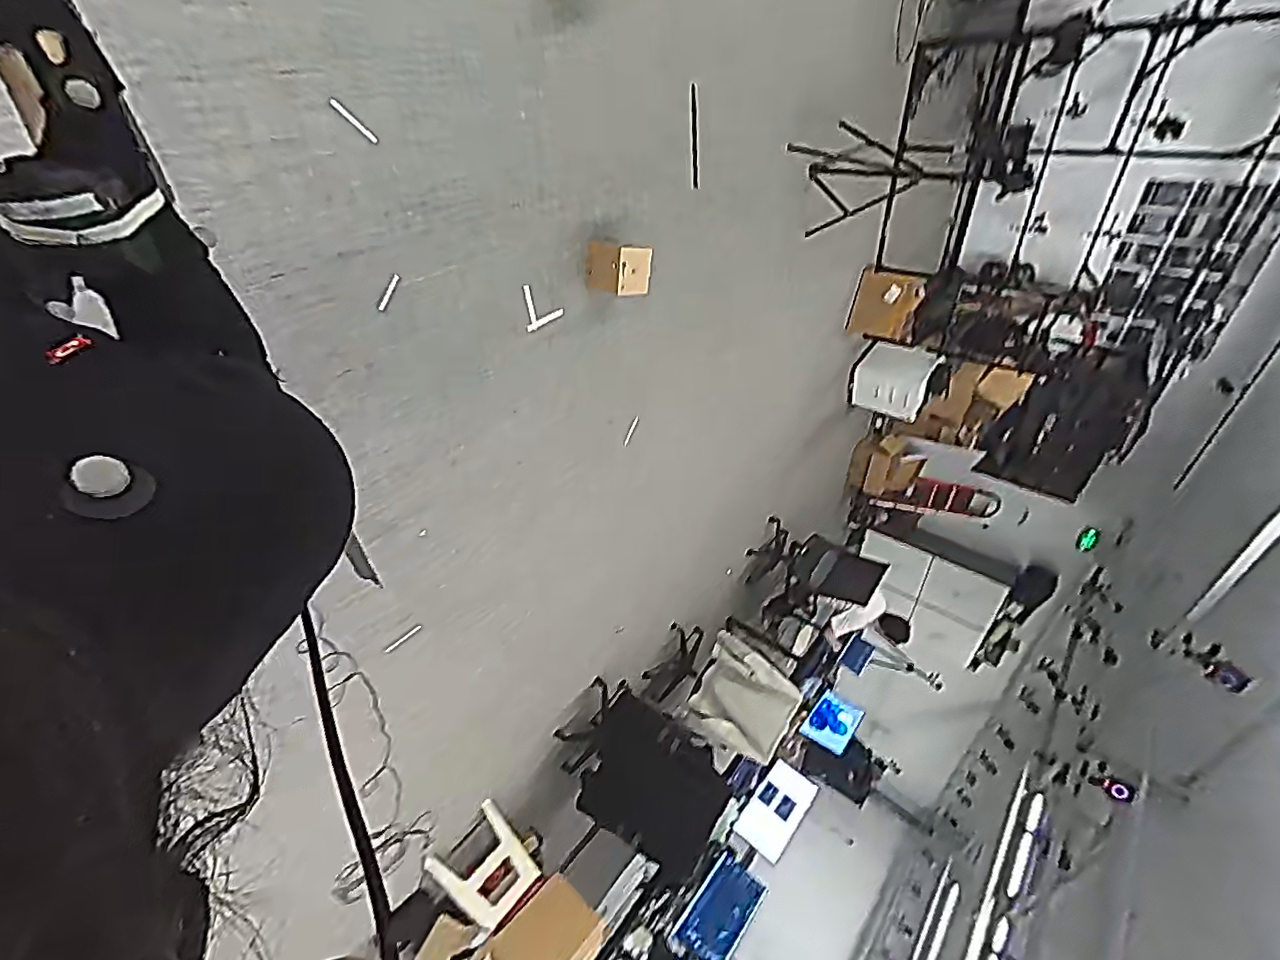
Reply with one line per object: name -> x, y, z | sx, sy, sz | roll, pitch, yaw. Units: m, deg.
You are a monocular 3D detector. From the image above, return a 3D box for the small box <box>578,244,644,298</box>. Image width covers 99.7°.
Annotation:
small box -> -0.111, -0.790, 2.038 | 0.179, 0.176, 0.168 | -24, 130, -46
